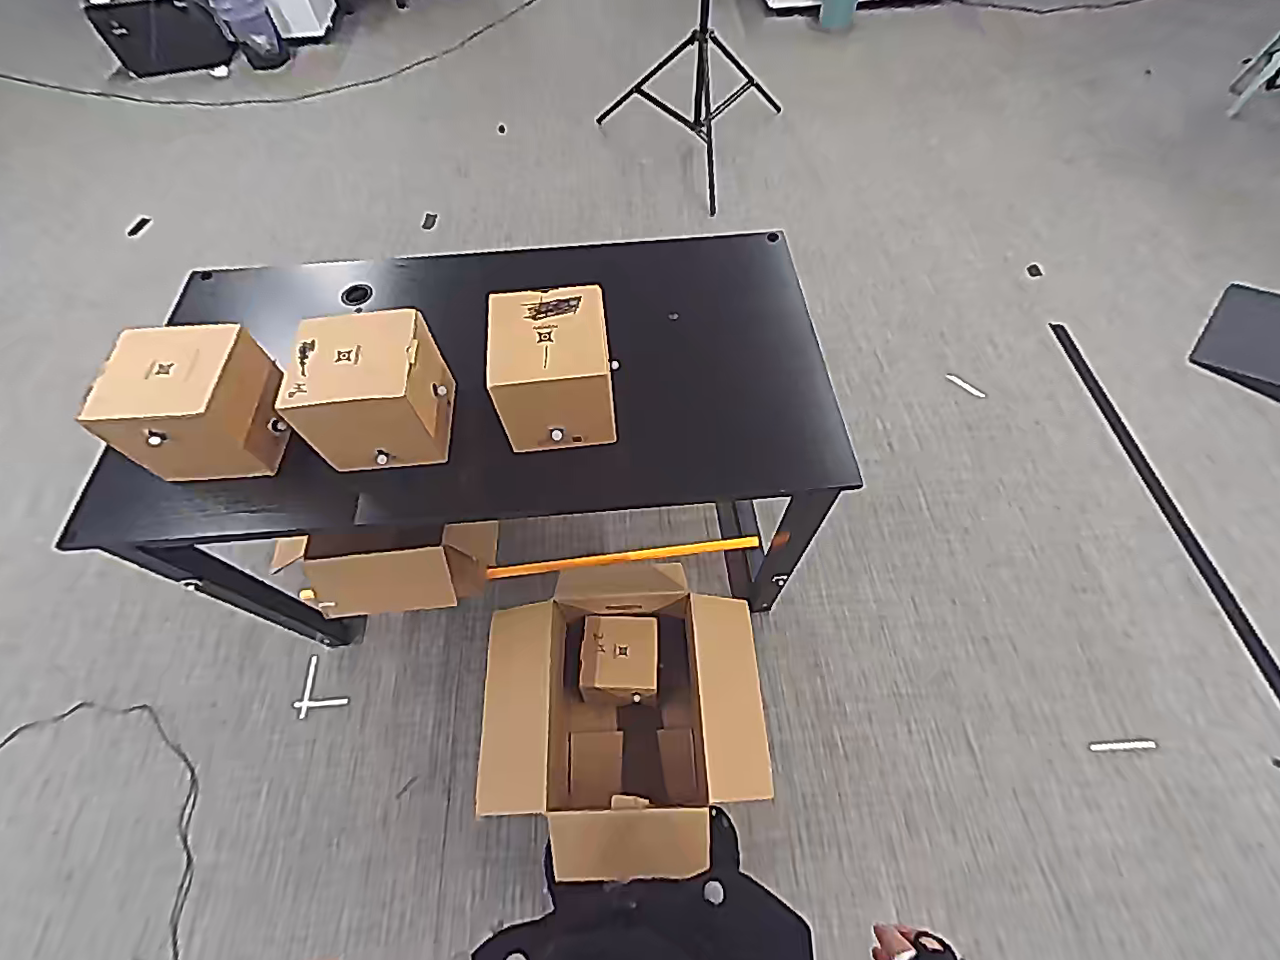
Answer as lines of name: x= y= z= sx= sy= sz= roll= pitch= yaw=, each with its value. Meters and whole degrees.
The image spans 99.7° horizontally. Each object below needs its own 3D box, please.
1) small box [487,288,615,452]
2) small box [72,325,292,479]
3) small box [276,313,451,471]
small box: x=-0.129 y=-0.165 z=0.830 sx=0.168 sy=0.176 sz=0.179 roll=-6 pitch=61 yaw=-2
small box: x=-0.661 y=-0.111 z=0.816 sx=0.179 sy=0.176 sz=0.168 roll=-3 pitch=61 yaw=-1
small box: x=-0.398 y=-0.128 z=0.818 sx=0.179 sy=0.176 sz=0.168 roll=-5 pitch=60 yaw=-3
